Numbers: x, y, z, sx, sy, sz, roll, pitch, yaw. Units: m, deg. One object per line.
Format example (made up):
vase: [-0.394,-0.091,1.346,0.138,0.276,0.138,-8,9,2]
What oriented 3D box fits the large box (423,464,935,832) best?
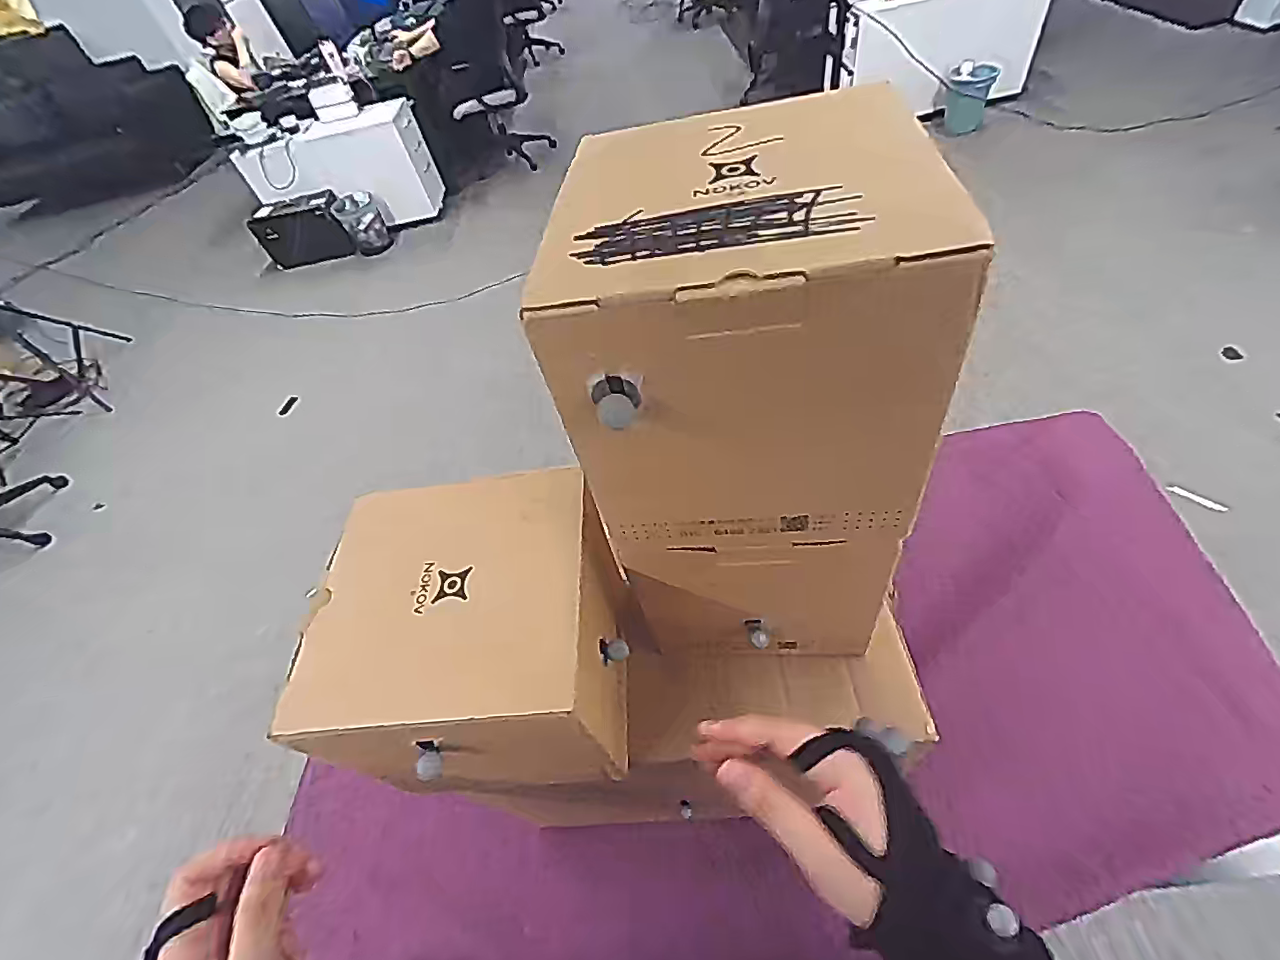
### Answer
large box: [0.041,0.188,0.616,0.408,0.320,0.320,-9,48,7]

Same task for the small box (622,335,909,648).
small box: [0.090,0.014,0.424,0.168,0.176,0.179,-4,50,12]
